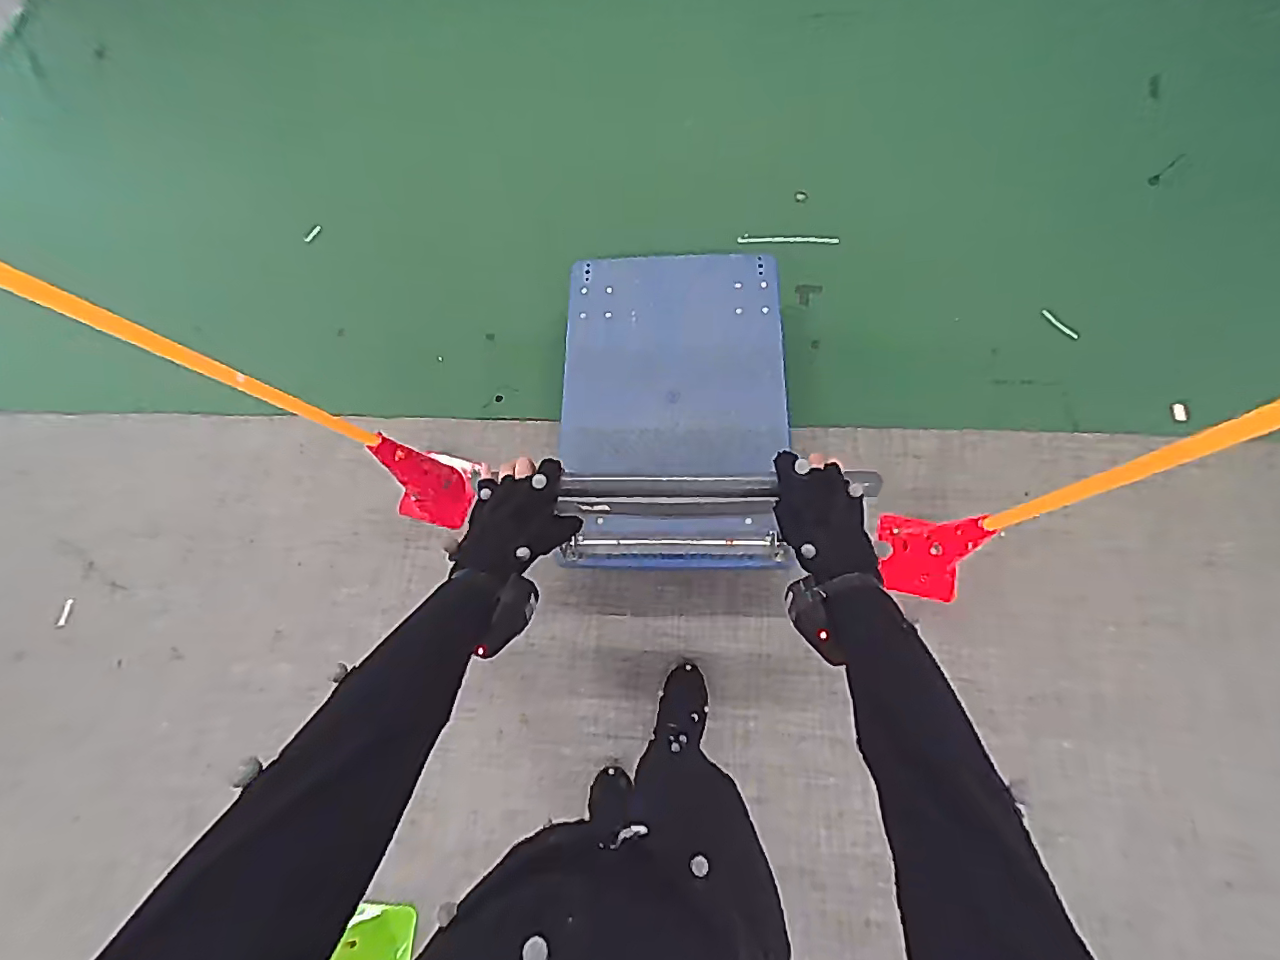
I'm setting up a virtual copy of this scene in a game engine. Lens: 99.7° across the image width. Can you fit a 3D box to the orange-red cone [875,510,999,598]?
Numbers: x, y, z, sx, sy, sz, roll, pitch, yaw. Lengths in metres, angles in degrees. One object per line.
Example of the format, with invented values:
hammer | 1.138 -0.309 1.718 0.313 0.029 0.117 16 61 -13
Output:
orange-red cone | 0.691 0.132 1.207 0.198 0.360 0.199 13 74 9
